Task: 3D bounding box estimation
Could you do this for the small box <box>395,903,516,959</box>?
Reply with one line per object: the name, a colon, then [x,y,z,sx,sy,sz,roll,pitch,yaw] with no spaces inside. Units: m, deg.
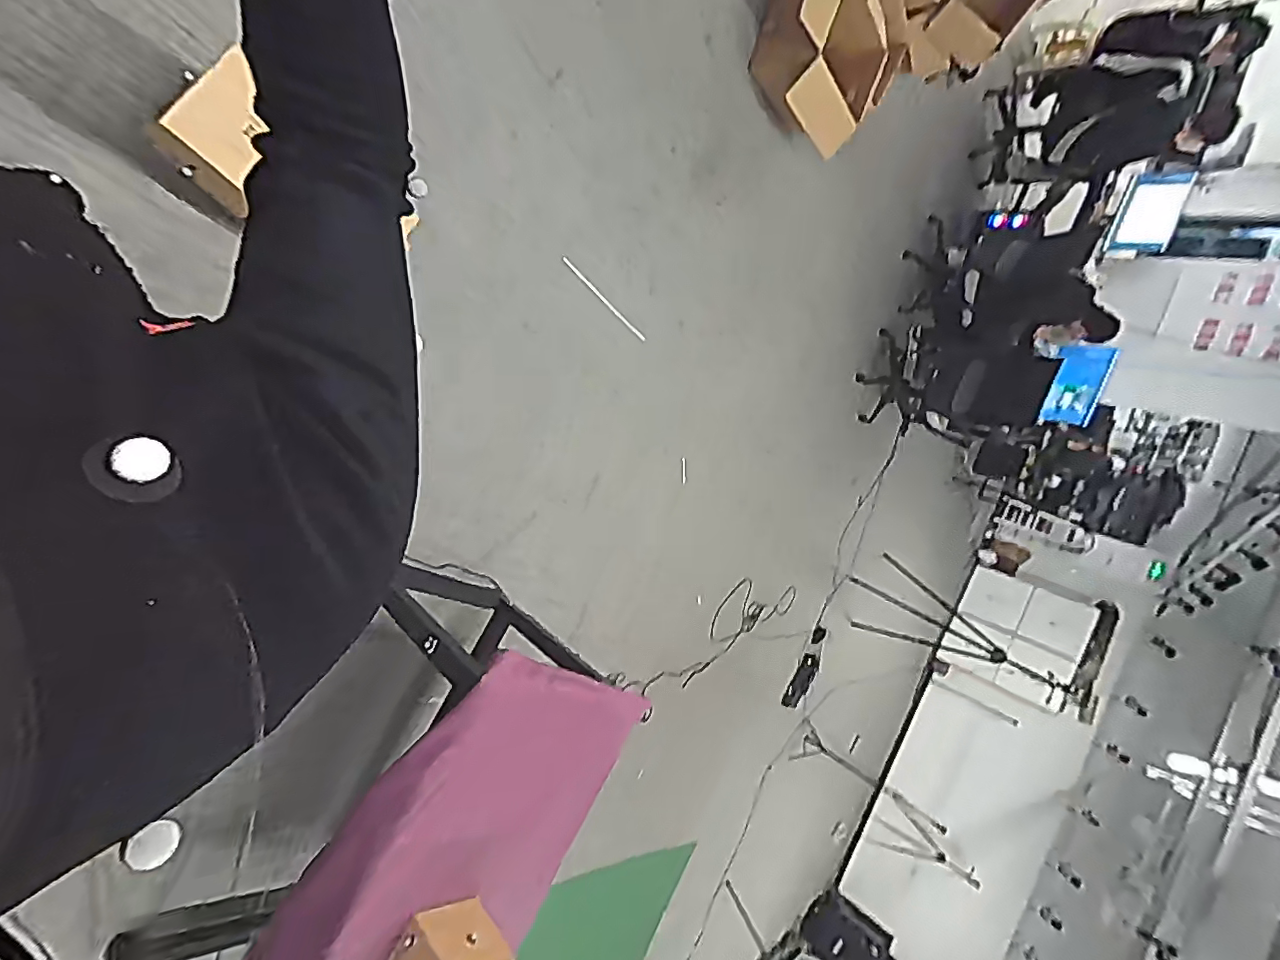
small box: [-0.394,1.014,1.099,0.179,0.176,0.168,38,78,-50]
